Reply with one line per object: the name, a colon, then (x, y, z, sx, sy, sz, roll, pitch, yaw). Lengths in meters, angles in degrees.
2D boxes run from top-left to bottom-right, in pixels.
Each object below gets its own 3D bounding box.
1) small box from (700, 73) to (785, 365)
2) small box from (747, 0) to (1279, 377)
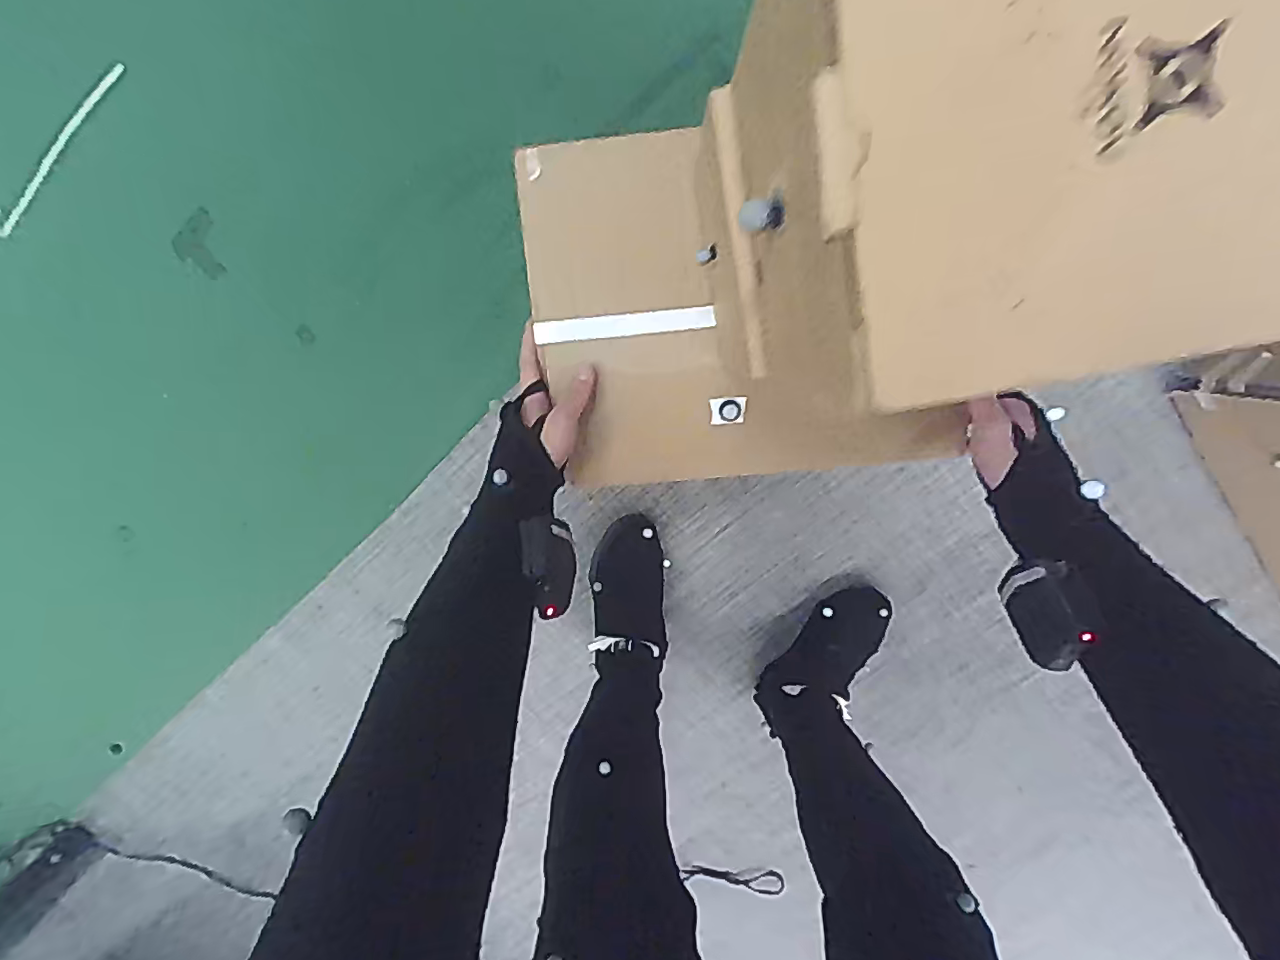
small box: (0.142, -0.183, 0.396, 0.179, 0.176, 0.168, -11, 104, 4)
small box: (0.147, -0.143, 0.237, 0.179, 0.176, 0.168, -10, 104, 5)
